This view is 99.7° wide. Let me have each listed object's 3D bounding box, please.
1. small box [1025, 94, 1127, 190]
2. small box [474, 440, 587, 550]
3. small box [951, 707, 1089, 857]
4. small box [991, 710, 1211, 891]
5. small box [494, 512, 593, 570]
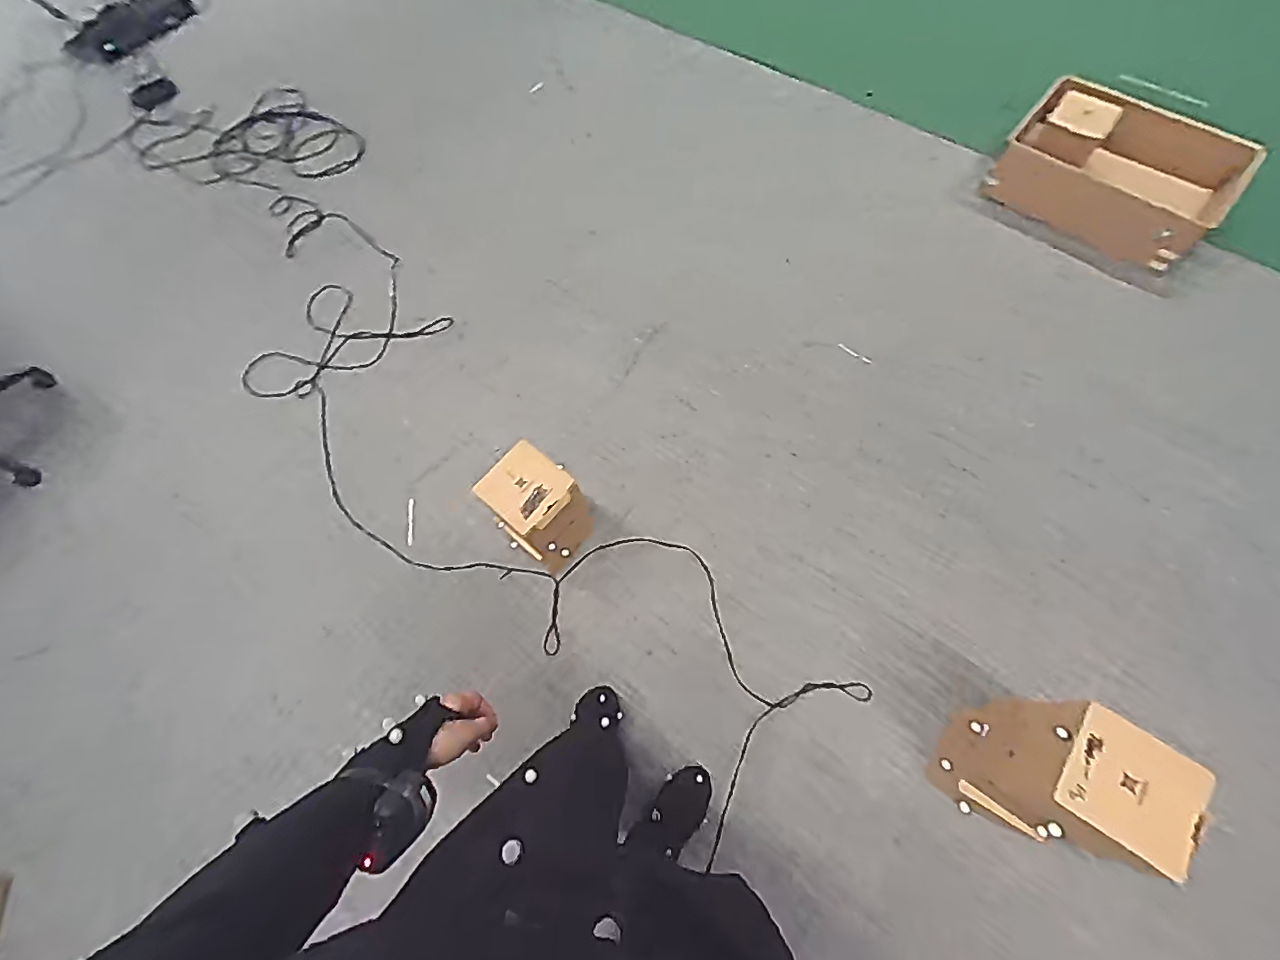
[{"bbox_3d":[1.387,-1.080,1.734,0.168,0.176,0.179,35,75,16],"label":"small box"},{"bbox_3d":[-0.246,0.045,1.264,0.179,0.176,0.168,38,74,19],"label":"small box"},{"bbox_3d":[0.726,0.542,1.000,0.179,0.176,0.168,34,73,17],"label":"small box"},{"bbox_3d":[0.707,0.481,0.849,0.179,0.176,0.168,34,73,15],"label":"small box"},{"bbox_3d":[-0.242,0.117,1.412,0.179,0.176,0.168,37,74,18],"label":"small box"}]
